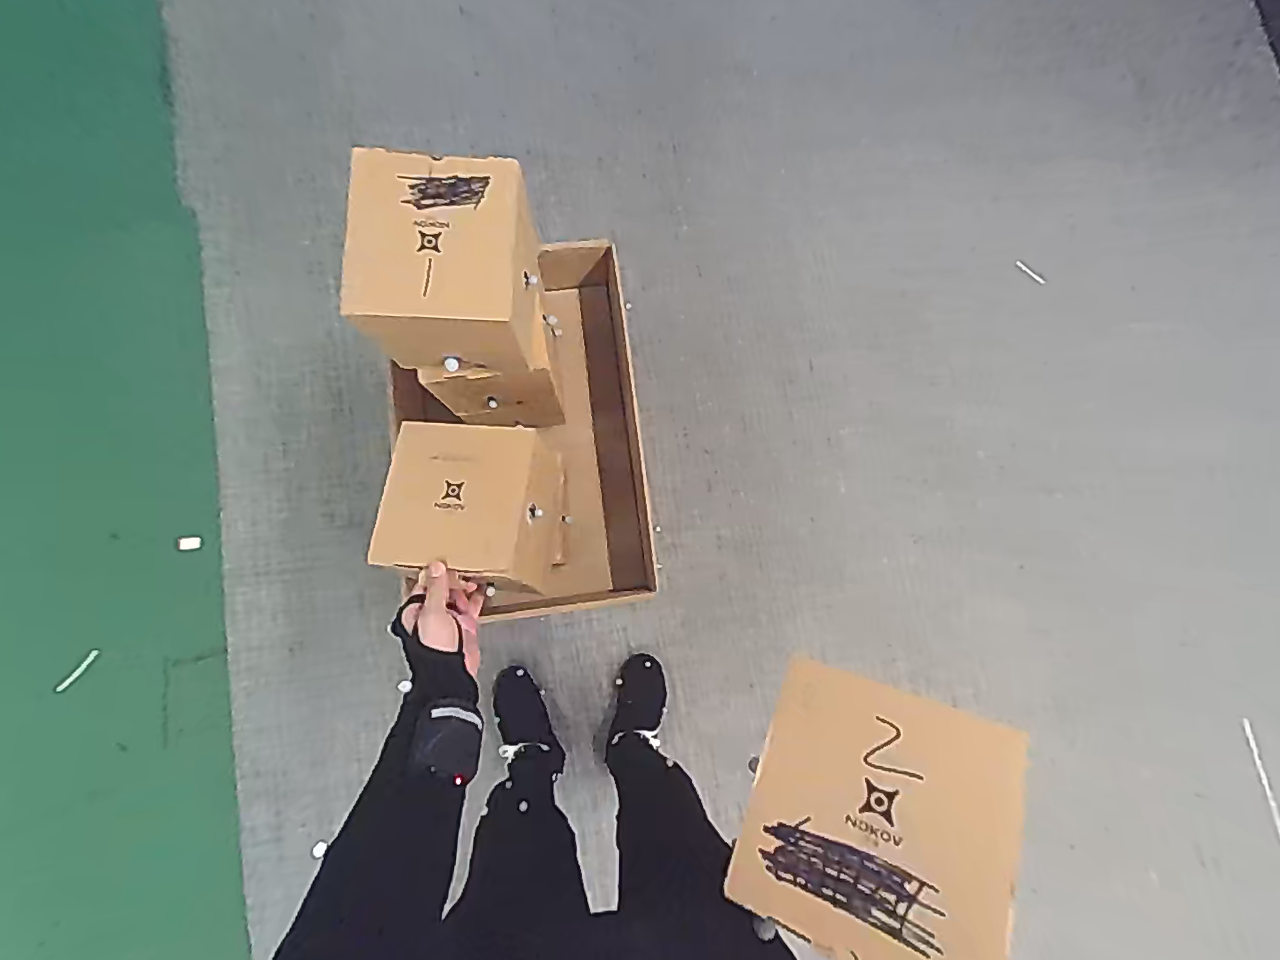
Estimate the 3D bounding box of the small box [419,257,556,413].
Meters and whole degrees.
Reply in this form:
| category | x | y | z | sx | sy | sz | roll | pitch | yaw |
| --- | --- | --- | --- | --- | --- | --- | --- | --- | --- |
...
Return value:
| category | x | y | z | sx | sy | sz | roll | pitch | yaw |
| --- | --- | --- | --- | --- | --- | --- | --- | --- | --- |
| small box | -0.217 | -0.209 | 0.784 | 0.168 | 0.176 | 0.179 | -8 | 83 | -5 |

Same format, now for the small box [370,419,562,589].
| category | x | y | z | sx | sy | sz | roll | pitch | yaw |
| --- | --- | --- | --- | --- | --- | --- | --- | --- | --- |
| small box | -0.205 | 0.039 | 0.693 | 0.168 | 0.176 | 0.179 | 4 | 70 | 6 |

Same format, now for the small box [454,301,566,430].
| category | x | y | z | sx | sy | sz | roll | pitch | yaw |
| --- | --- | --- | --- | --- | --- | --- | --- | --- | --- |
| small box | -0.226 | -0.189 | 0.944 | 0.168 | 0.176 | 0.179 | -8 | 83 | -4 |

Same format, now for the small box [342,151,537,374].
| category | x | y | z | sx | sy | sz | roll | pitch | yaw |
| --- | --- | --- | --- | --- | --- | --- | --- | --- | --- |
| small box | -0.212 | -0.235 | 0.622 | 0.168 | 0.176 | 0.179 | 1 | 83 | -3 |
